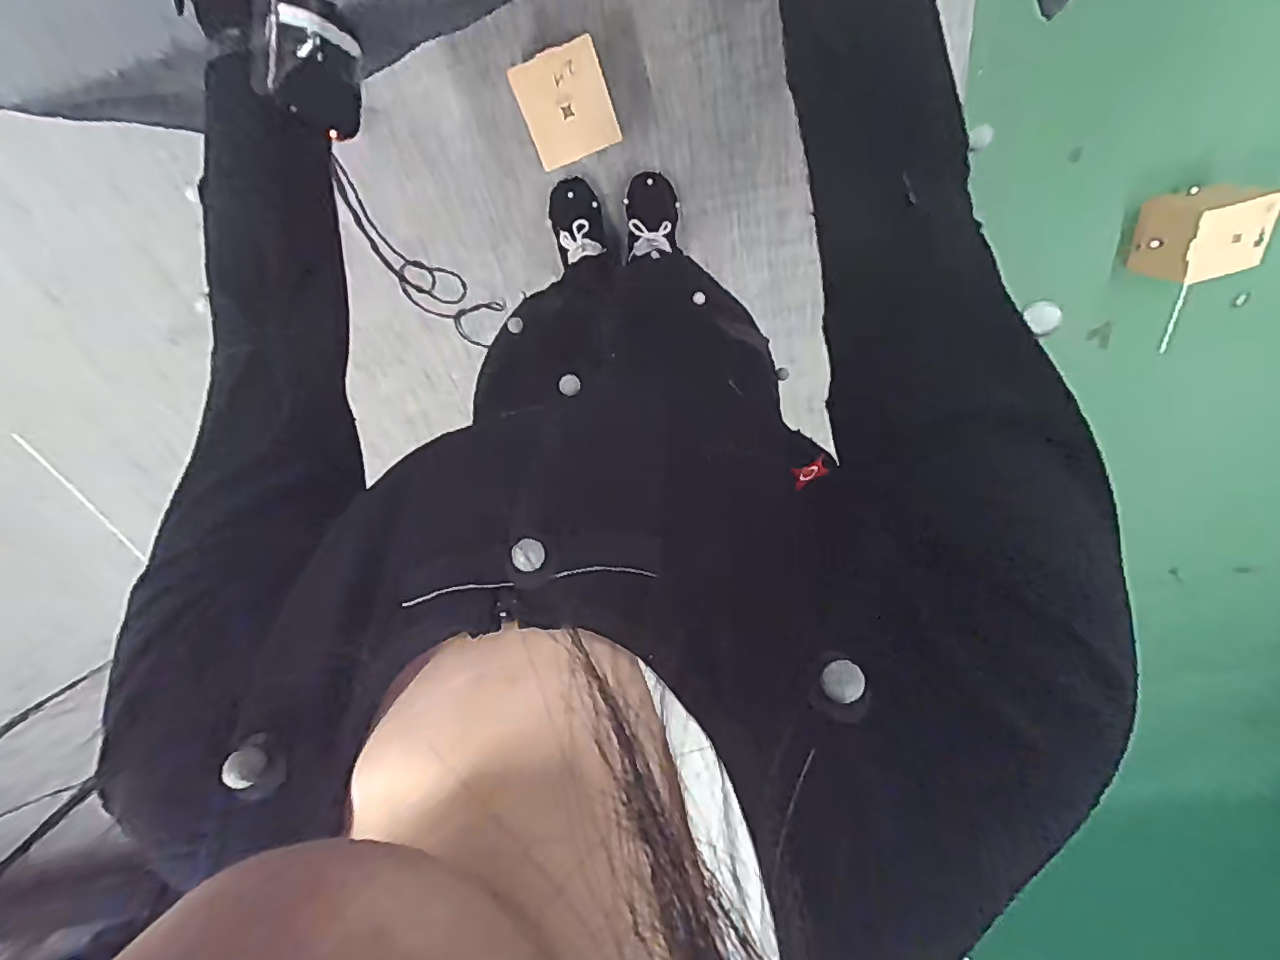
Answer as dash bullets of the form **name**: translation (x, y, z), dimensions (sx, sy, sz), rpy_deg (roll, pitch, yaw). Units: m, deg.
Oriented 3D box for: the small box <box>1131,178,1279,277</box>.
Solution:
- **small box**: translation (1.339, -0.605, 1.290), dimensions (0.179, 0.176, 0.168), rpy_deg (-13, 125, 6)
